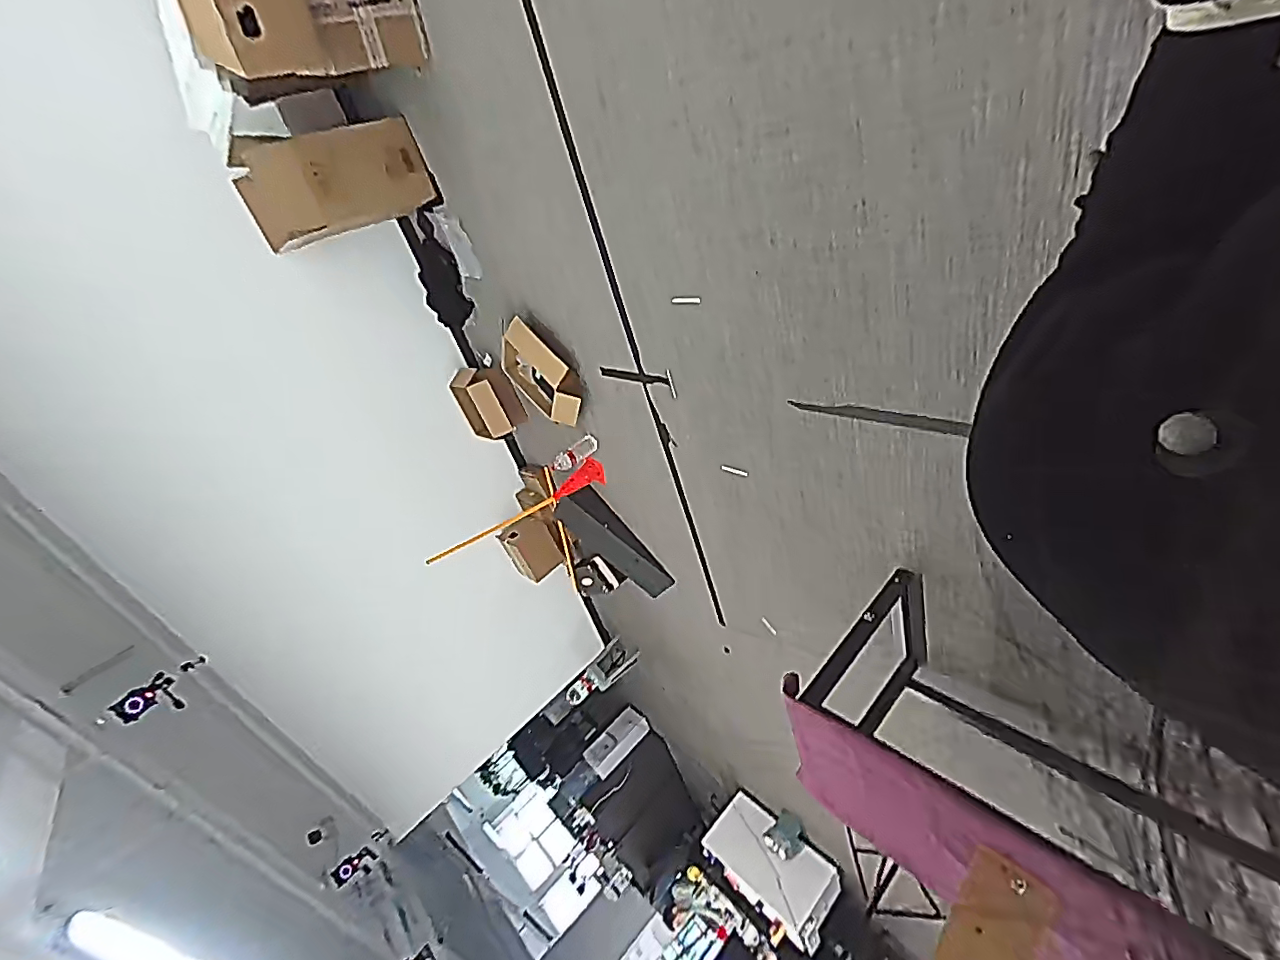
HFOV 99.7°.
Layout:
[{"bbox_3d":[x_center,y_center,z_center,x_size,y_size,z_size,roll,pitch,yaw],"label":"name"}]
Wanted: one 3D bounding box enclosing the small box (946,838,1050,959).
[{"bbox_3d":[0.876,1.036,1.329,0.168,0.176,0.179,20,139,43],"label":"small box"}]
